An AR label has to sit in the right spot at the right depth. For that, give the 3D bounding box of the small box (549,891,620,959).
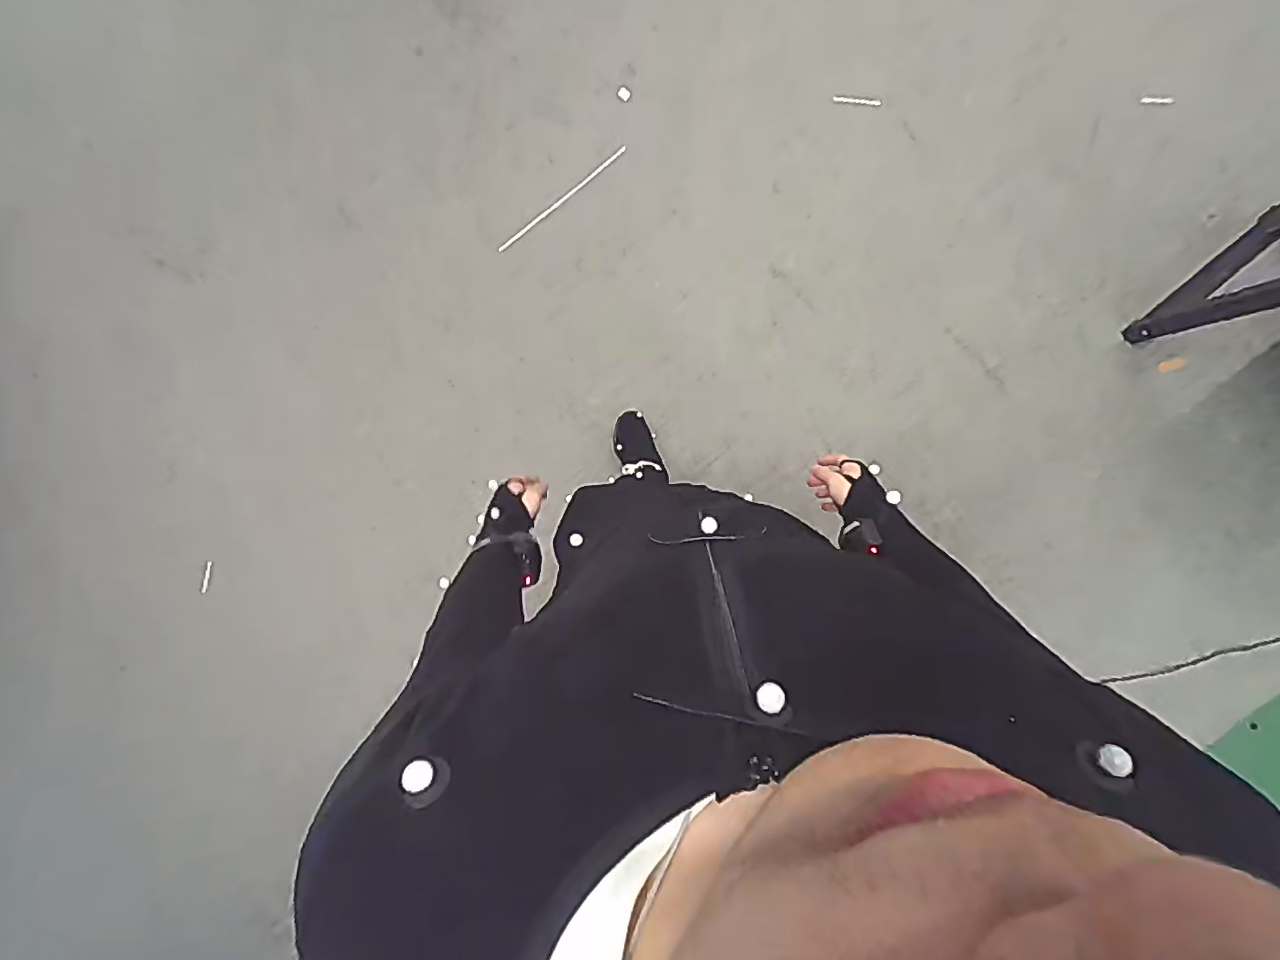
[{"bbox_3d":[-0.170,1.371,1.588,0.179,0.176,0.168,-35,92,1],"label":"small box"}]
